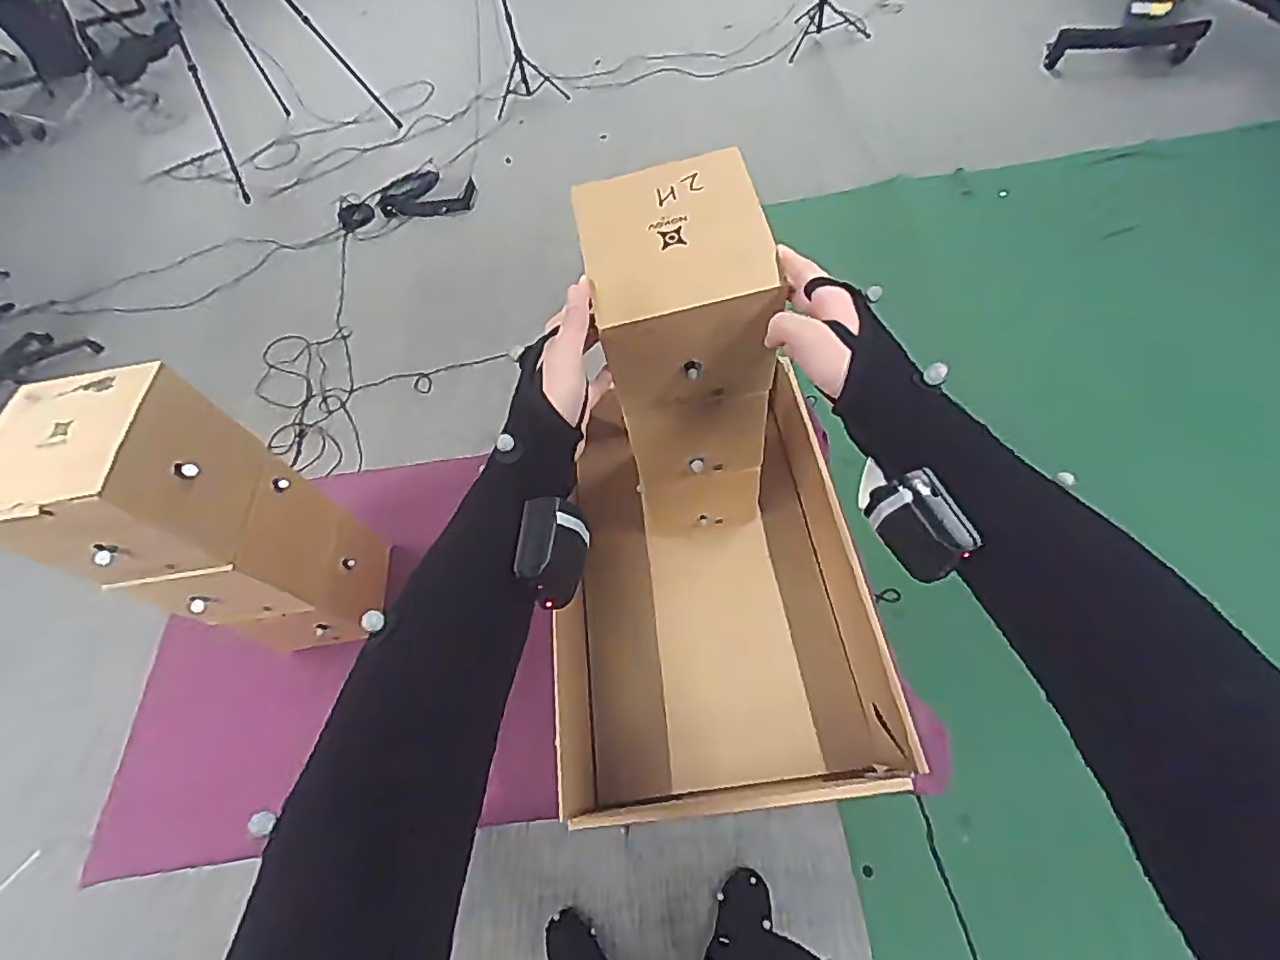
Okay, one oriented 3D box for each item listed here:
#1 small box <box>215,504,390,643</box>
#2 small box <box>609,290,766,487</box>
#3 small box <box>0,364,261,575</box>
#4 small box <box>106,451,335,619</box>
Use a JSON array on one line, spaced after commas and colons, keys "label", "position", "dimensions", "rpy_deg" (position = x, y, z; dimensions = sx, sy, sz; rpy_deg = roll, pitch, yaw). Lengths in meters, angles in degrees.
[{"label": "small box", "position": [-0.540, 0.163, 0.896], "dimensions": [0.168, 0.176, 0.179], "rpy_deg": [-8, 59, 3]}, {"label": "small box", "position": [0.061, -0.114, 0.712], "dimensions": [0.168, 0.176, 0.179], "rpy_deg": [-11, 61, 4]}, {"label": "small box", "position": [-0.580, -0.002, 0.618], "dimensions": [0.168, 0.176, 0.179], "rpy_deg": [-9, 59, 2]}, {"label": "small box", "position": [-0.561, 0.086, 0.756], "dimensions": [0.168, 0.176, 0.179], "rpy_deg": [-9, 59, 3]}]
